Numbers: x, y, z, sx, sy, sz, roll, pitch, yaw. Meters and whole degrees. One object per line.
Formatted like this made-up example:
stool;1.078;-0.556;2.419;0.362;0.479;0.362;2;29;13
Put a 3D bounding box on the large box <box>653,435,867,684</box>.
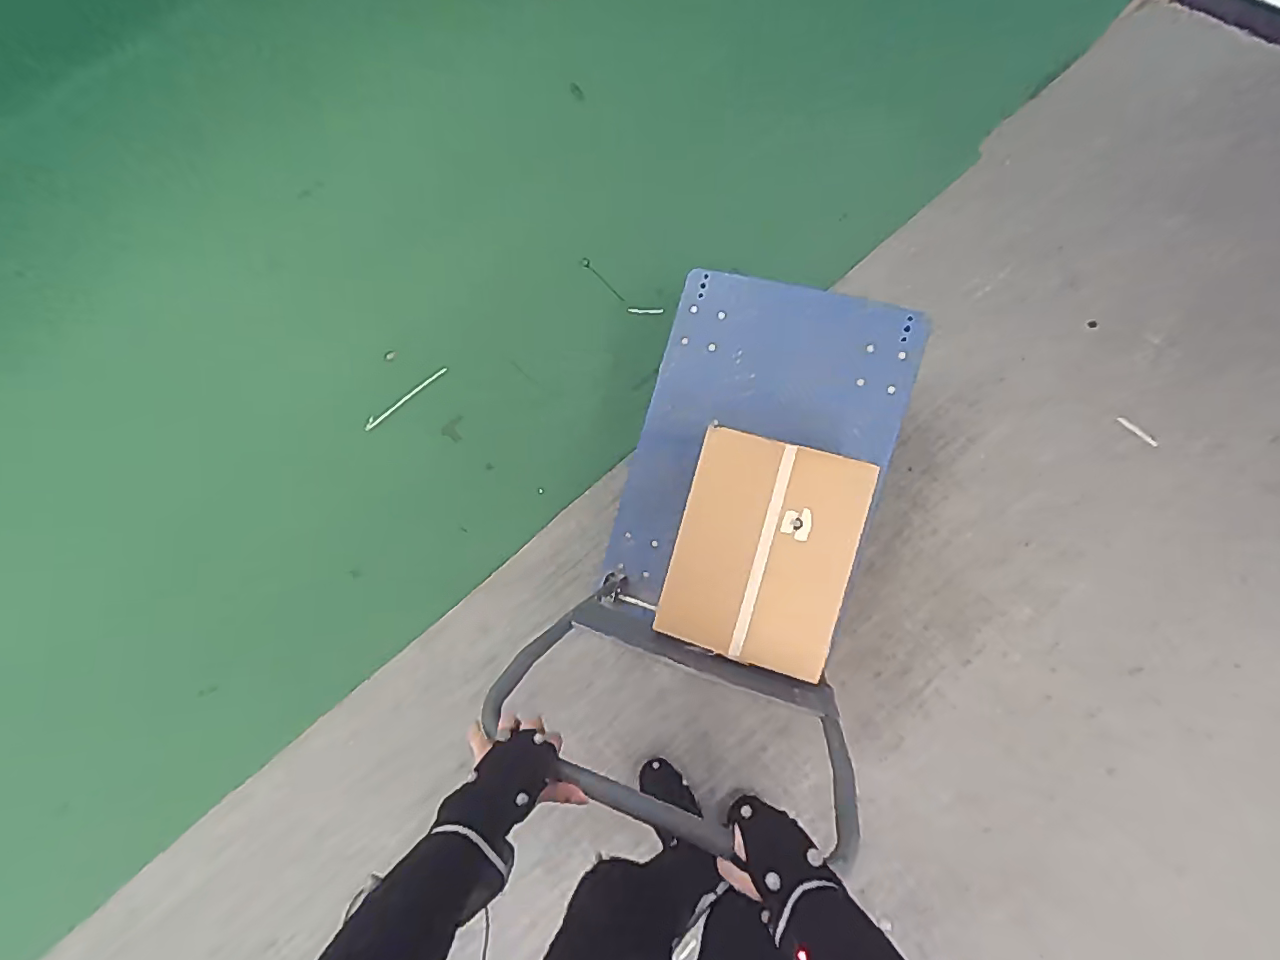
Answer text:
large box;0.249;0.149;1.150;0.320;0.320;0.408;16;91;12
